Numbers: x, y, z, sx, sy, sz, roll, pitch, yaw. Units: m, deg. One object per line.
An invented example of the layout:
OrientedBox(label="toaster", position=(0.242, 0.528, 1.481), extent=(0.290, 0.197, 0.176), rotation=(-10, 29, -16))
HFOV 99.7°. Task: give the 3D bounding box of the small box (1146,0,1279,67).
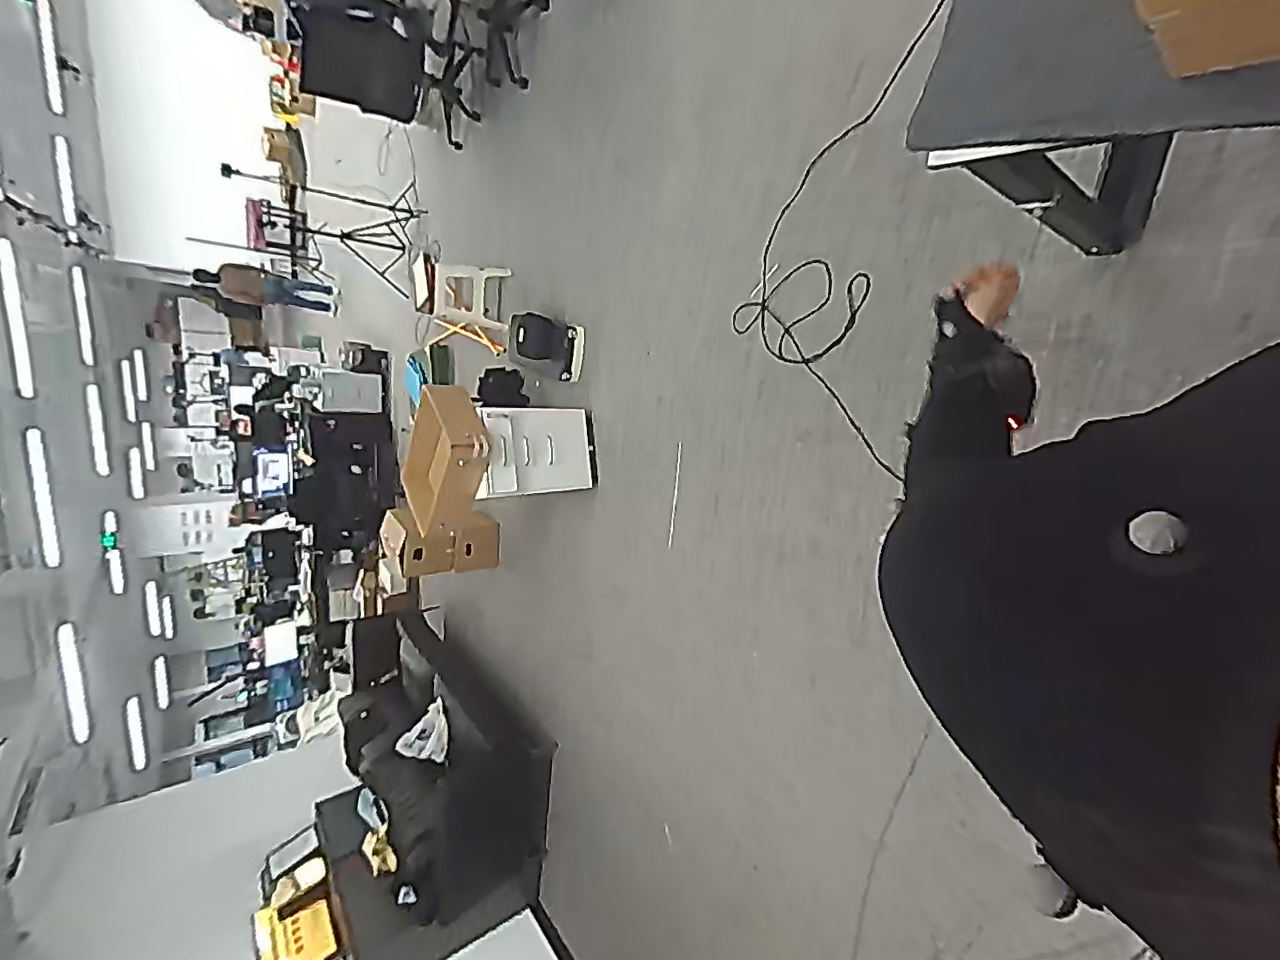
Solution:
OrientedBox(label="small box", position=(0.553, -0.466, 0.423), extent=(0.179, 0.176, 0.168), rotation=(27, 115, 47))
